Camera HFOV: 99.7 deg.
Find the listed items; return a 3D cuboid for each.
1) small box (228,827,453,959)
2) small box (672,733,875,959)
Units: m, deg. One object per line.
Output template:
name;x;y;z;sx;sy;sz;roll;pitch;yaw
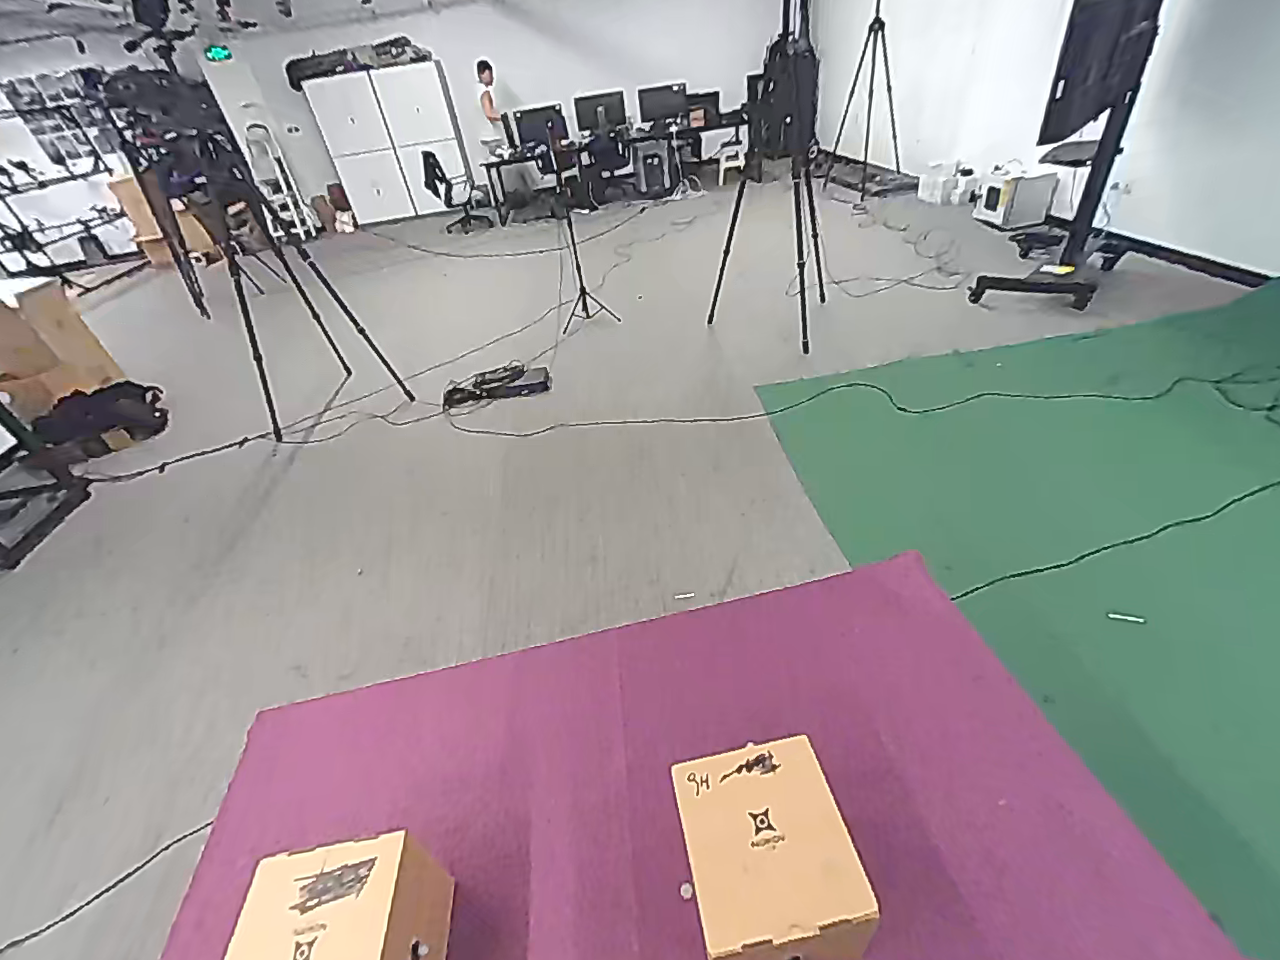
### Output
small box;-0.317;0.519;0.590;0.168;0.176;0.179;-11;39;-1
small box;0.140;0.425;0.613;0.168;0.176;0.179;-12;39;-2
